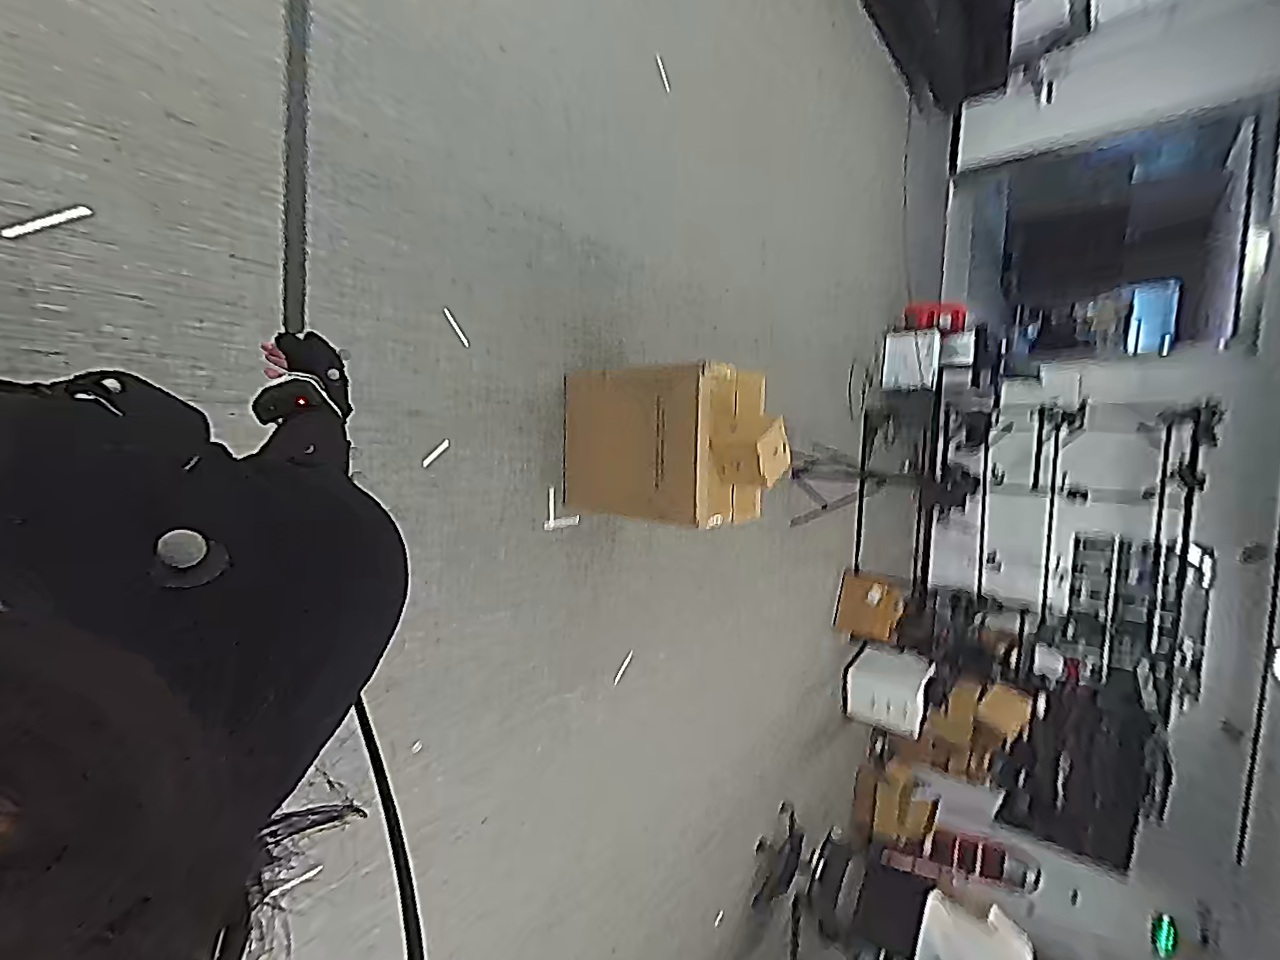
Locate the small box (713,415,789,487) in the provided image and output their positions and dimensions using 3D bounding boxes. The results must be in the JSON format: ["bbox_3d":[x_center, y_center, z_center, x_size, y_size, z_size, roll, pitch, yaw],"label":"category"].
[{"bbox_3d":[0.348,-0.094,1.718,0.179,0.176,0.168,-41,124,-37],"label":"small box"}]
